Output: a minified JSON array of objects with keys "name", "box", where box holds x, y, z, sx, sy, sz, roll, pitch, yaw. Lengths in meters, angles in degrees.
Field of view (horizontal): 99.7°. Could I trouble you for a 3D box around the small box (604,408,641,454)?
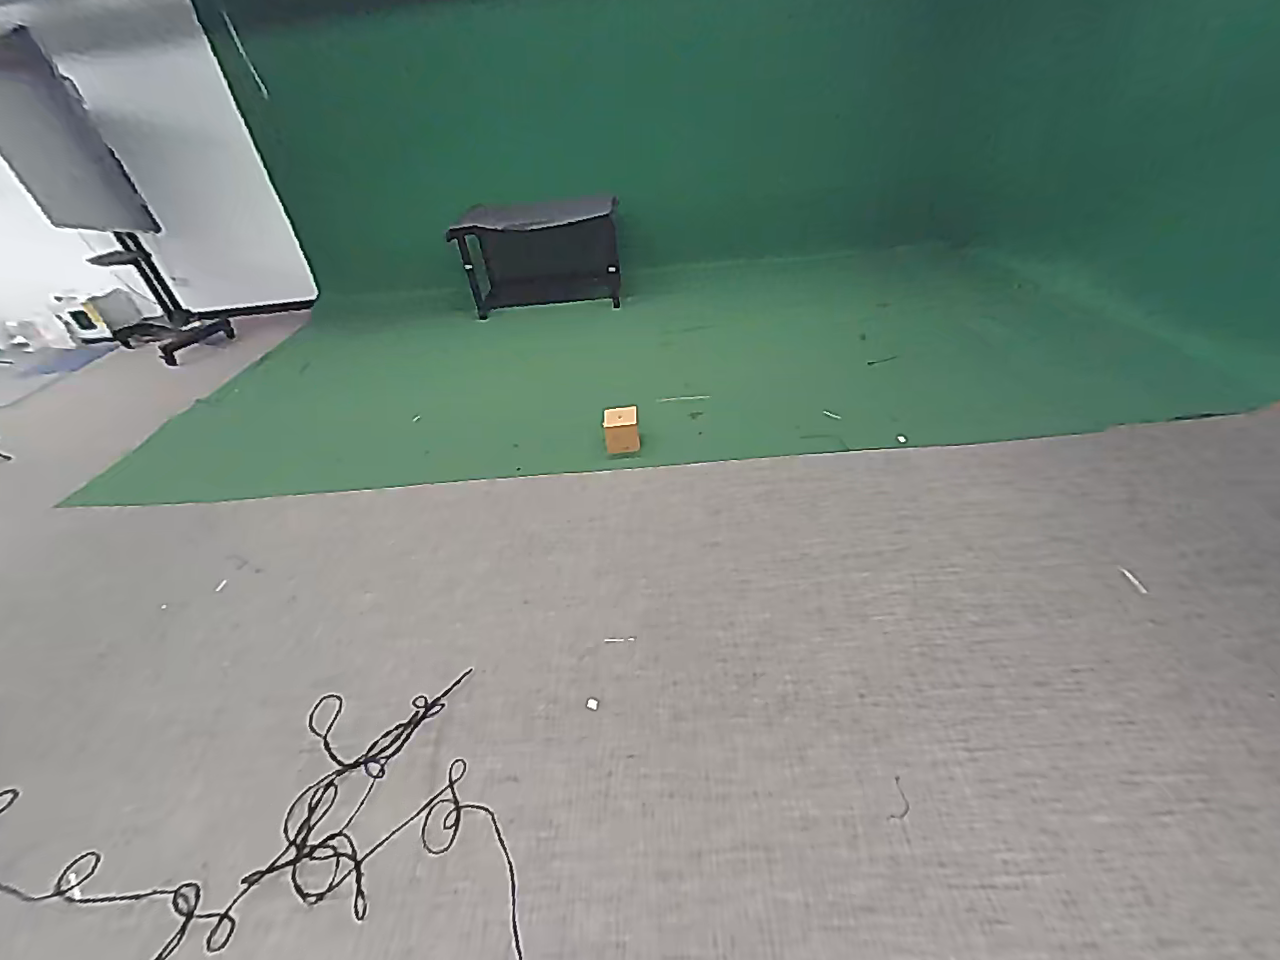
[{"name":"small box","box":[-0.088,-0.243,2.763,0.168,0.176,0.179,-6,36,2]}]
